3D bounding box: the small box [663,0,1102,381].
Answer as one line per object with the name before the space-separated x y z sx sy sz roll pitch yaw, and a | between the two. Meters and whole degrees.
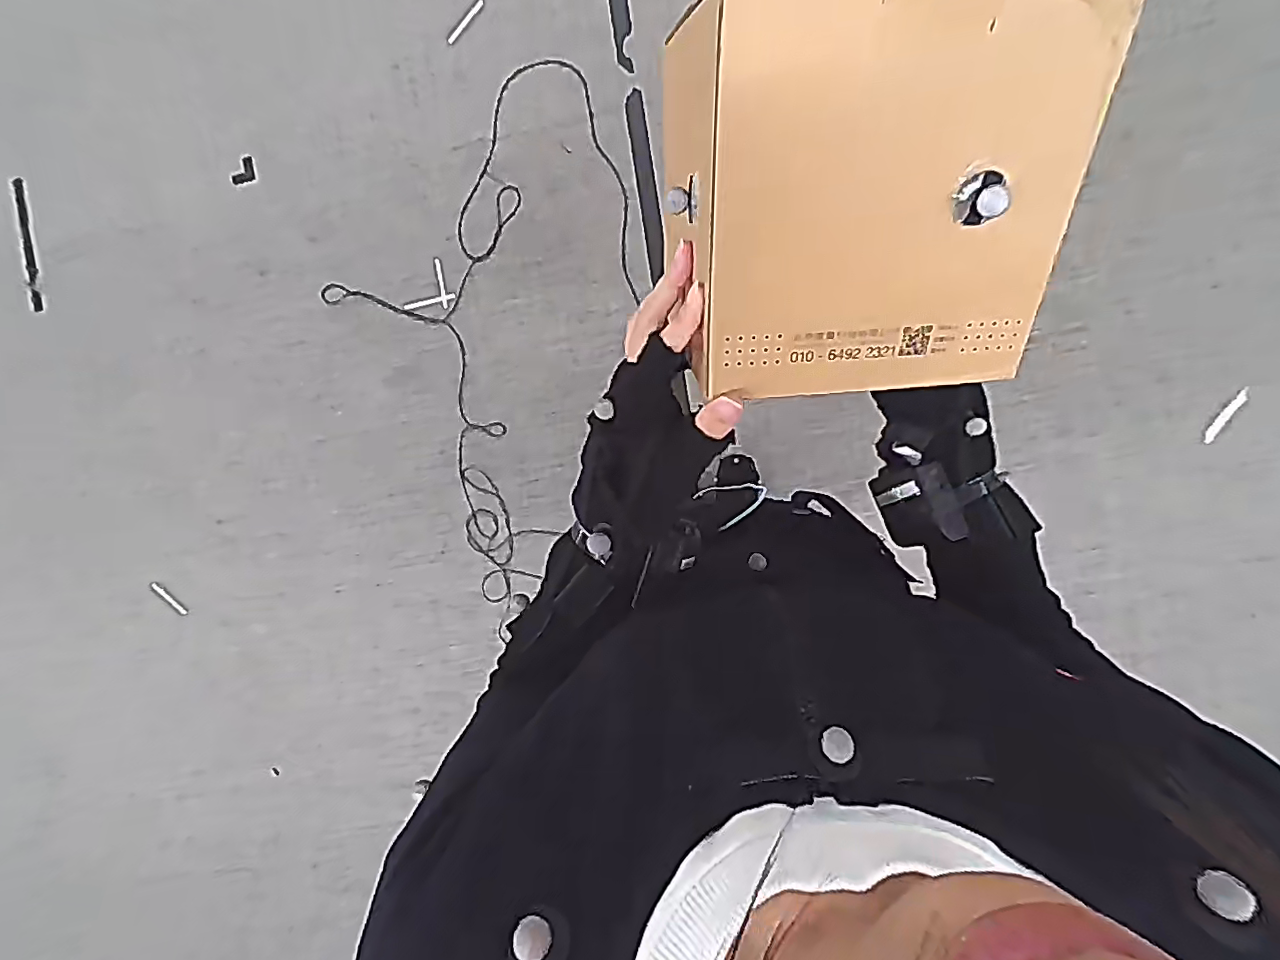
small box | 0.105 -0.164 0.326 0.168 0.179 0.176 -3 122 -3
